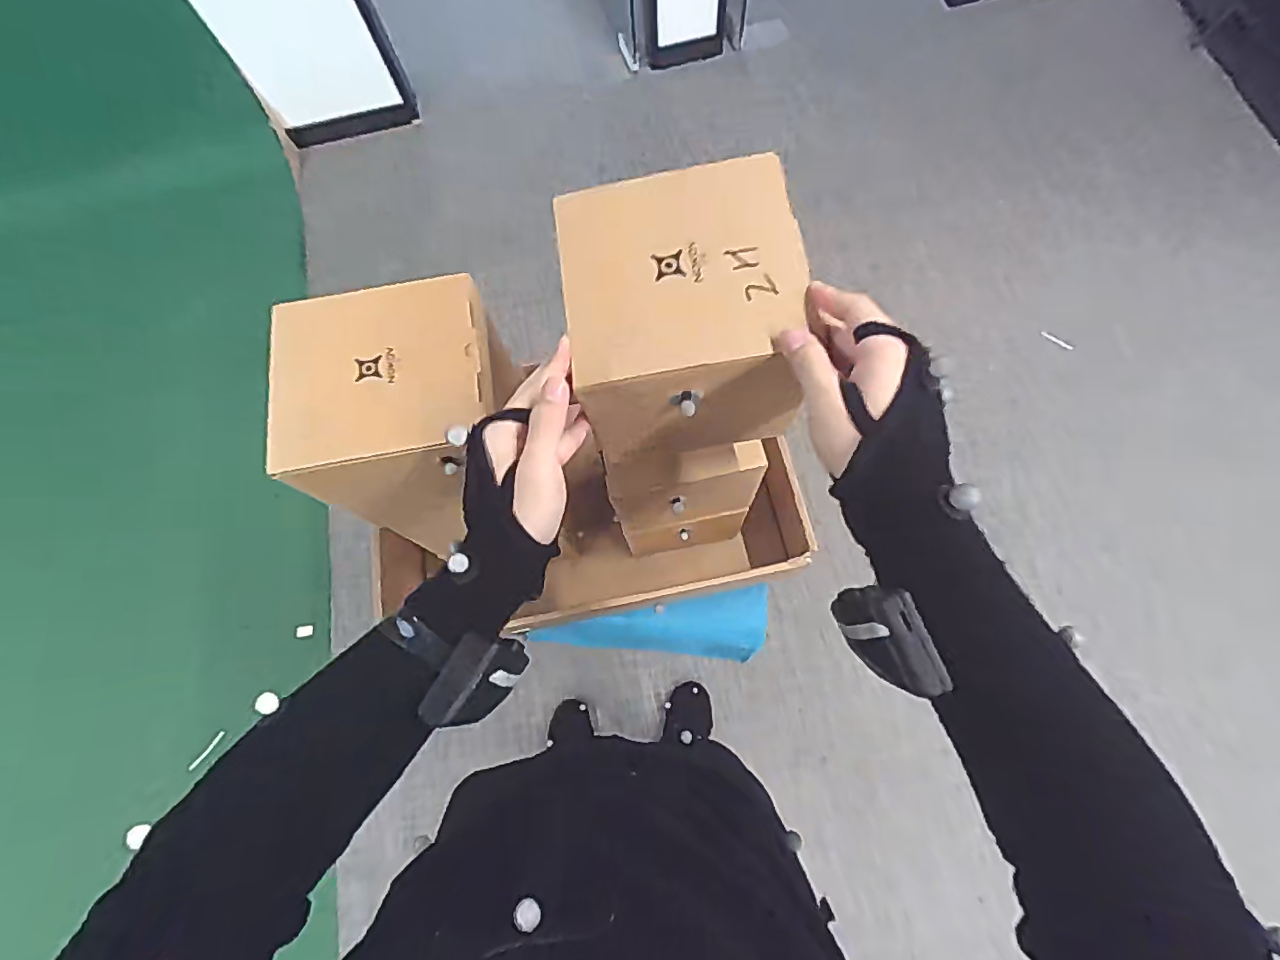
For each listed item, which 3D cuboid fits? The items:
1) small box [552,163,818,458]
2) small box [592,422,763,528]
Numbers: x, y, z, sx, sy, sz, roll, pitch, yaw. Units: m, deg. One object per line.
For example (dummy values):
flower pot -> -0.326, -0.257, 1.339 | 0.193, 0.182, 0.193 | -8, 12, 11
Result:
small box -> 0.034, -0.128, 0.468 | 0.179, 0.176, 0.168 | -9, 74, 3
small box -> 0.041, -0.048, 0.679 | 0.179, 0.176, 0.168 | -13, 72, 1
